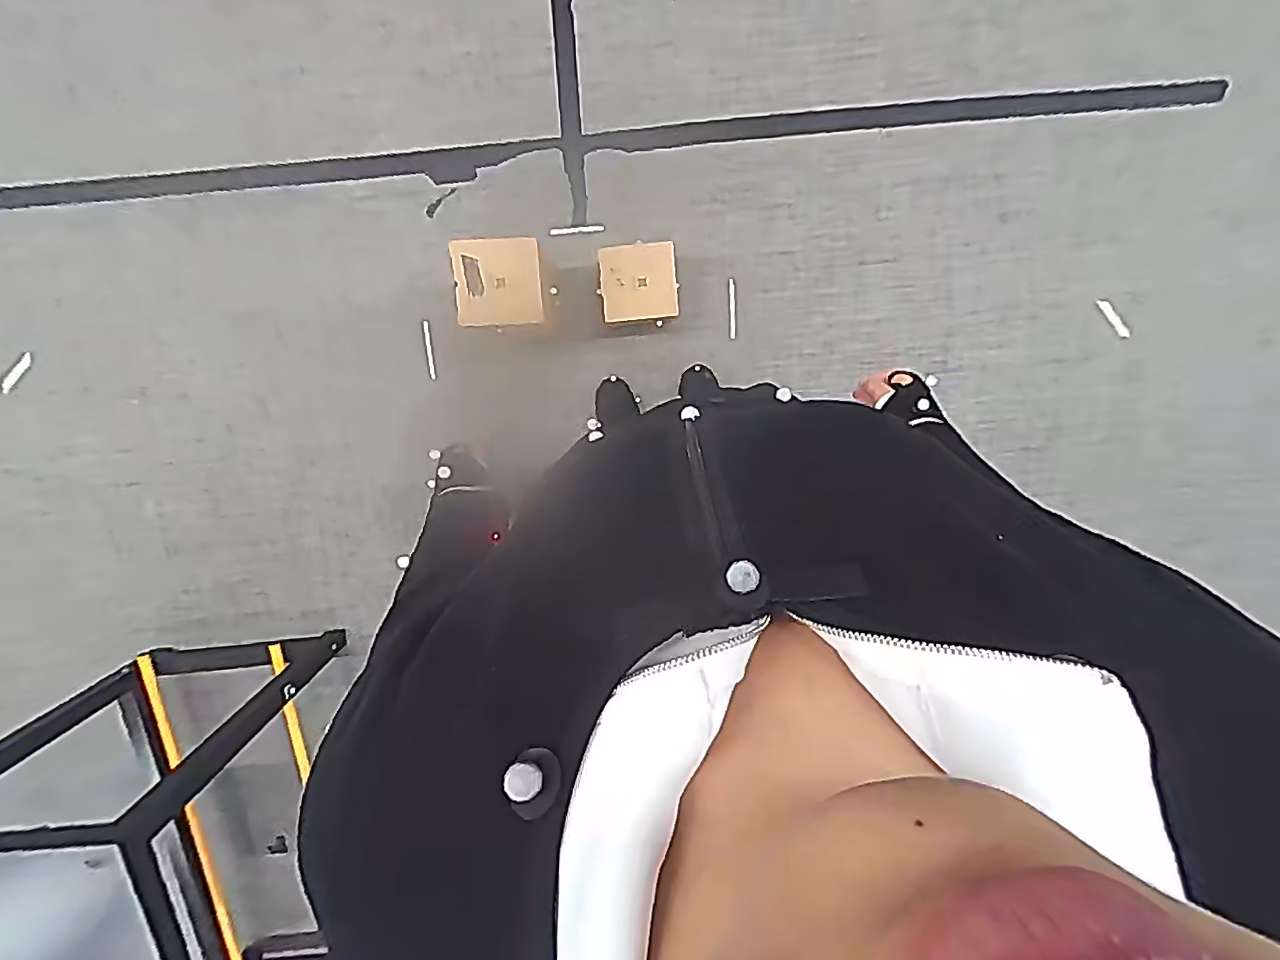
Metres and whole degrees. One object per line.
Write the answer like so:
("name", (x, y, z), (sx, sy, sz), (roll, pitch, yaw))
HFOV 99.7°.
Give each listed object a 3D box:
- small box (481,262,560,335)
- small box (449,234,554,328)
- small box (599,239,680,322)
("small box", (-0.289, -0.446, 1.309), (0.168, 0.176, 0.179), (-2, 104, 0))
("small box", (-0.285, -0.415, 1.146), (0.179, 0.176, 0.168), (-3, 103, -1))
("small box", (-0.004, -0.476, 1.308), (0.179, 0.176, 0.168), (-5, 103, 0))
